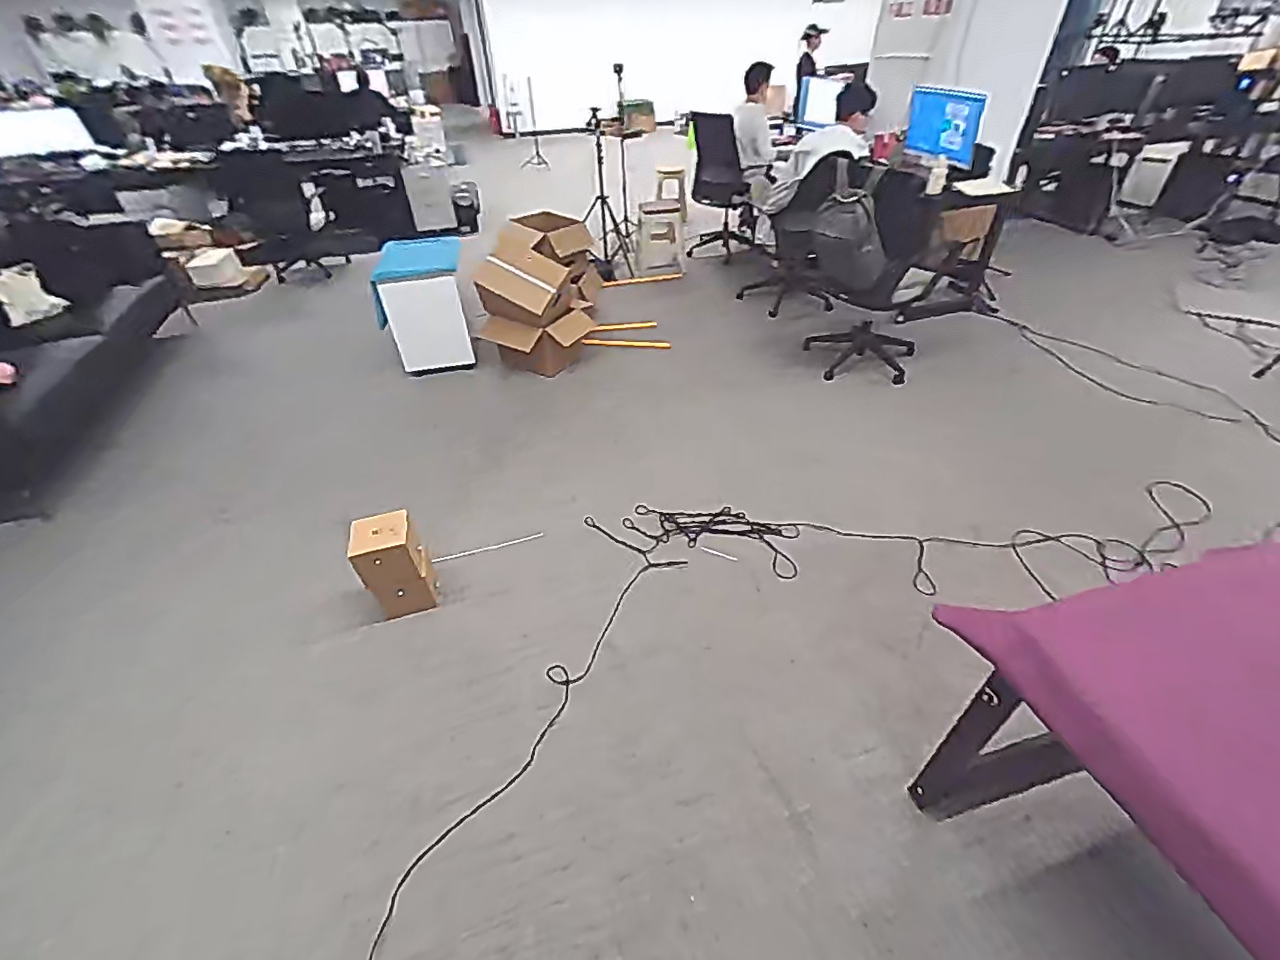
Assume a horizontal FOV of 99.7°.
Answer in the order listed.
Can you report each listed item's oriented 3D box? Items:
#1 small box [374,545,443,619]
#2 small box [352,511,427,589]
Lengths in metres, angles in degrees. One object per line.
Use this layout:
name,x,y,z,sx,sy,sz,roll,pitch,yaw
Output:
small box,-0.802,0.358,1.886,0.179,0.176,0.168,-13,41,-12
small box,-0.819,0.234,1.779,0.179,0.176,0.168,-13,42,-11
